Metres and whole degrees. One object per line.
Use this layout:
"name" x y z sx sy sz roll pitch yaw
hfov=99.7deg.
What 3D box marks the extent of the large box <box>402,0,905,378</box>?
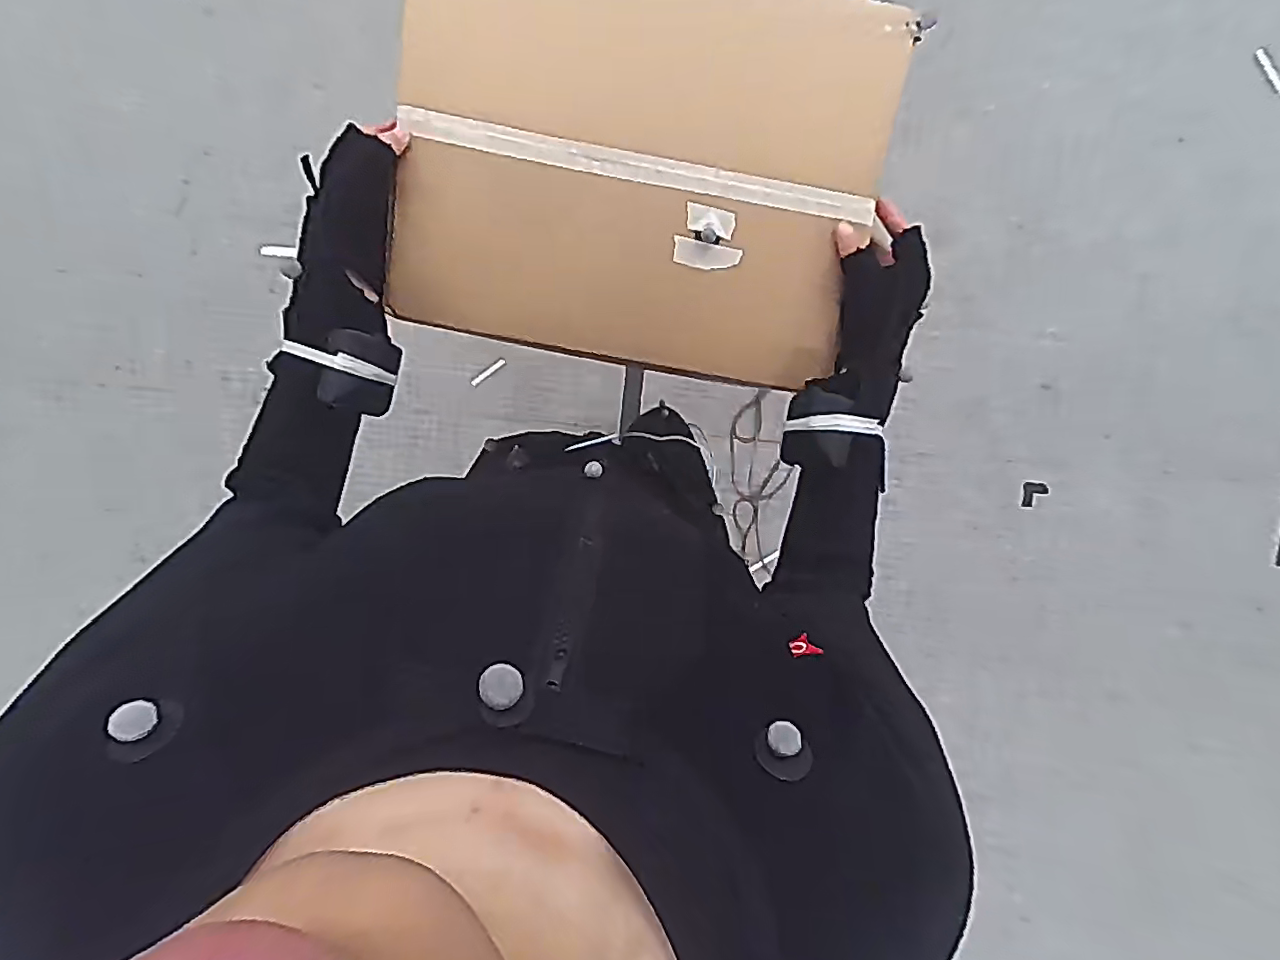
"large box" -0.002 -0.303 0.615 0.408 0.320 0.320 10 102 -4
